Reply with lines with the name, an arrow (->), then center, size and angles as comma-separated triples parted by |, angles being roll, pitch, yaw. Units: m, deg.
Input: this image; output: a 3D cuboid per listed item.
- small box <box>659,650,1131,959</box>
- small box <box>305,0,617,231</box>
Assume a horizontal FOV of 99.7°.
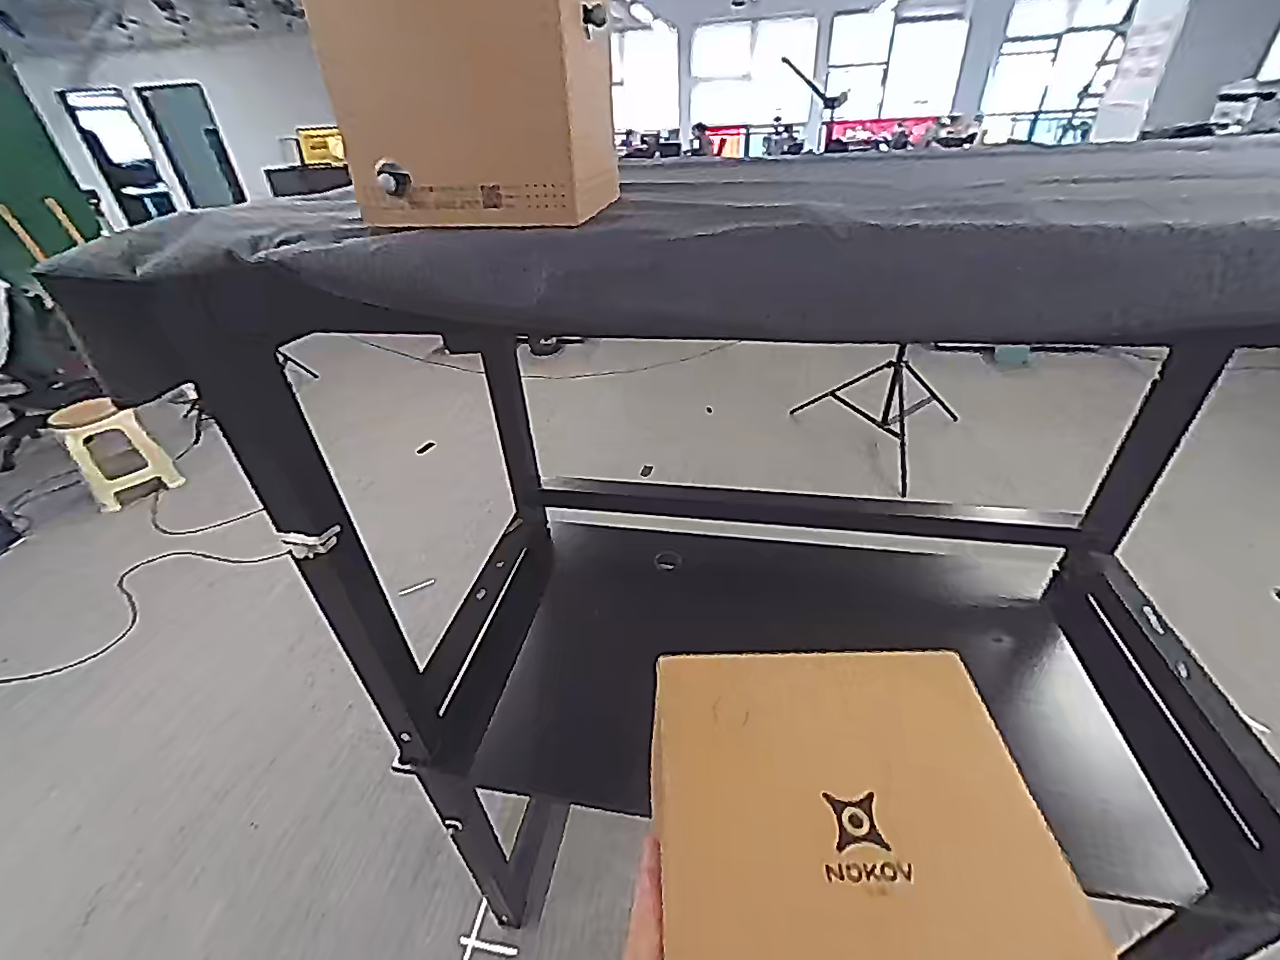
small box -> 0.095, 0.211, 0.279 | 0.168, 0.176, 0.179 | -1, 39, 0
small box -> -0.112, -0.294, 0.419 | 0.168, 0.176, 0.179 | 3, 33, 7
